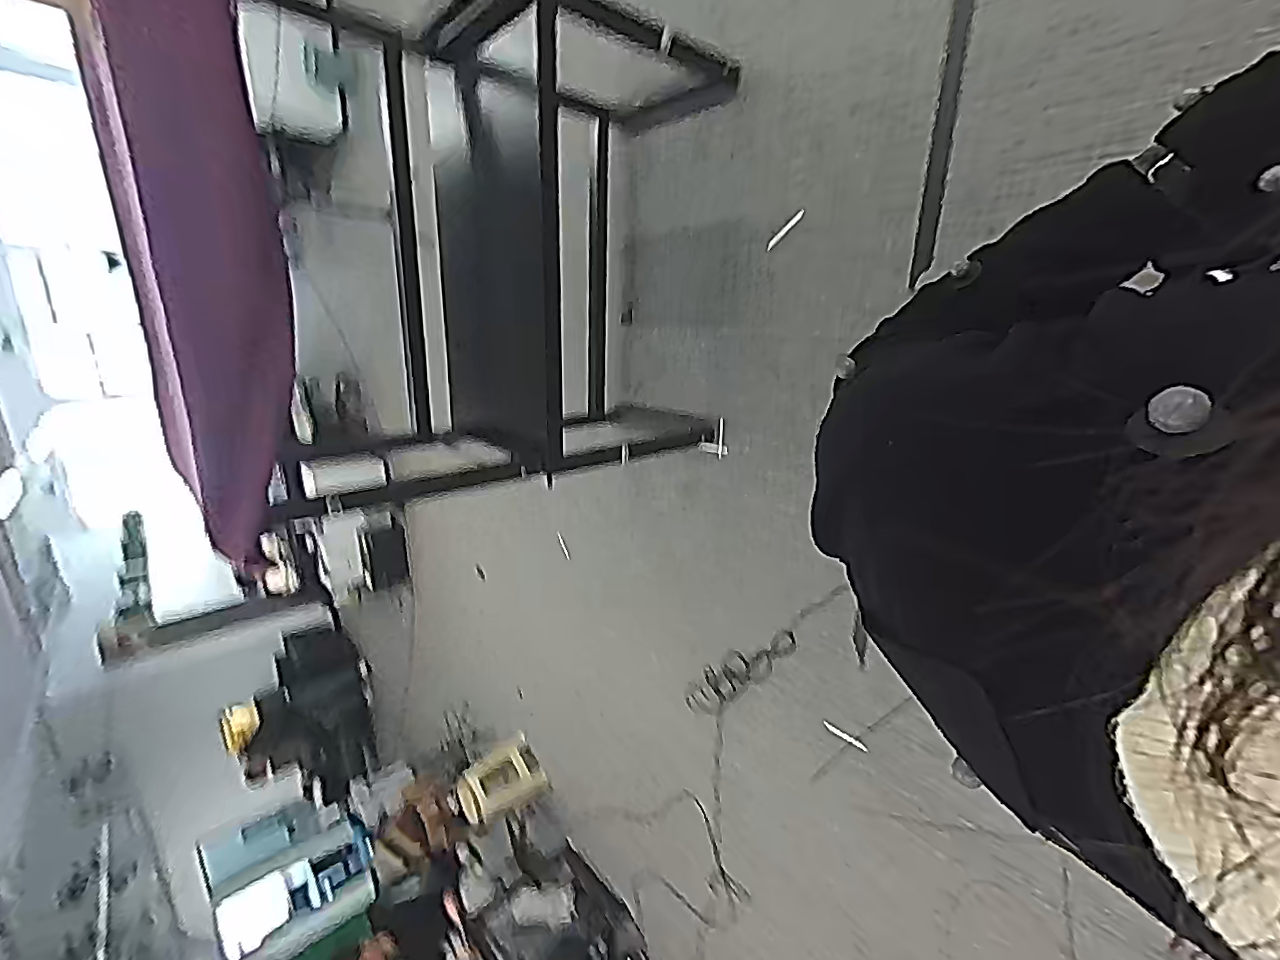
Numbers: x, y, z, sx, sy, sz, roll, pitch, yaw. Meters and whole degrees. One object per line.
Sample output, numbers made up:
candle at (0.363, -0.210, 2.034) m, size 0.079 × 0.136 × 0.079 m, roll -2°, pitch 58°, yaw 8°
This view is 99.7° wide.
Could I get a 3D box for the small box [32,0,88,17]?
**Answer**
small box at (-0.956, -0.849, 0.804) m, size 0.168 × 0.176 × 0.179 m, roll 17°, pitch 113°, yaw 46°
